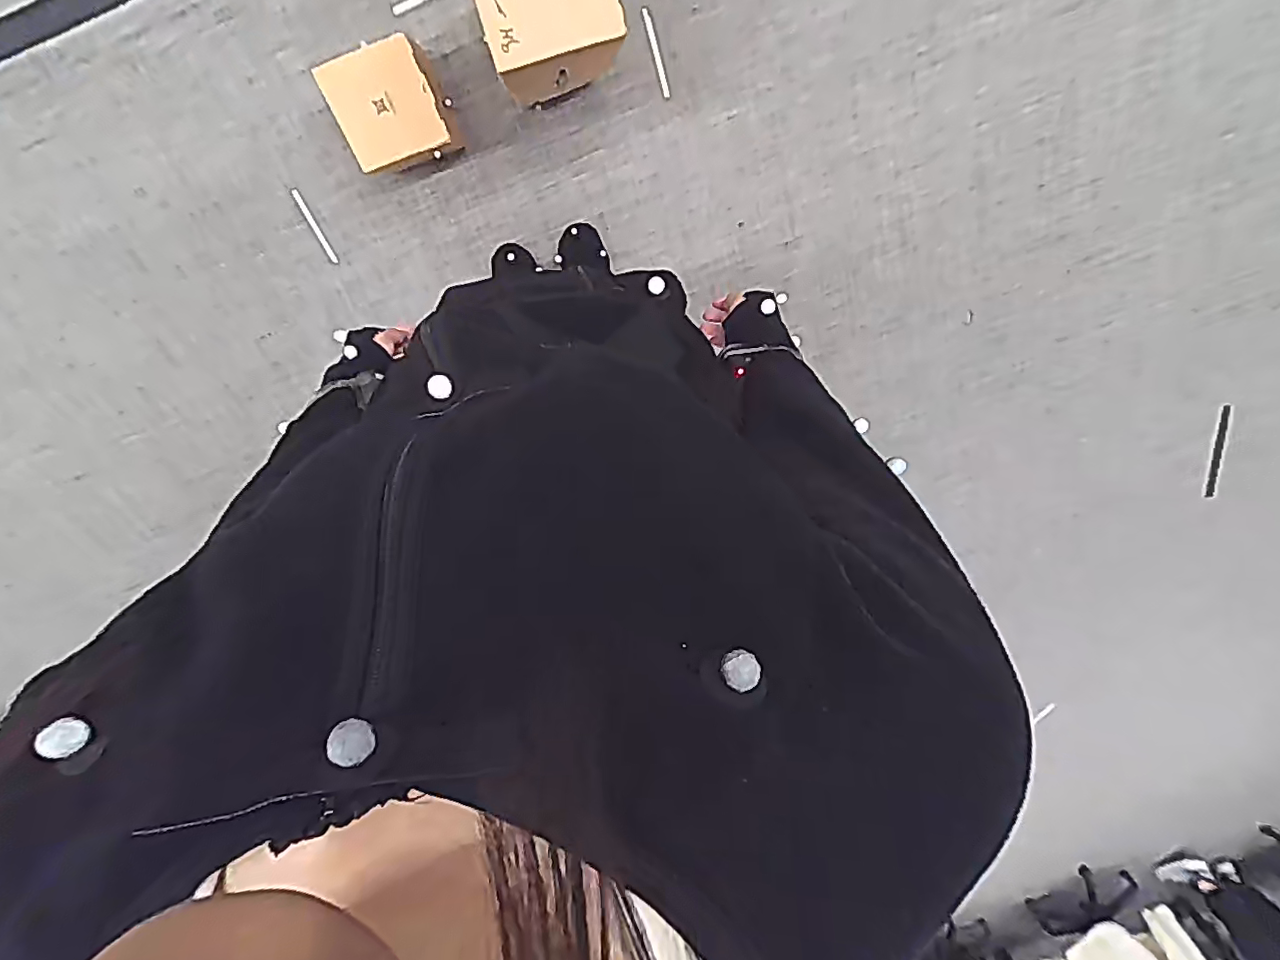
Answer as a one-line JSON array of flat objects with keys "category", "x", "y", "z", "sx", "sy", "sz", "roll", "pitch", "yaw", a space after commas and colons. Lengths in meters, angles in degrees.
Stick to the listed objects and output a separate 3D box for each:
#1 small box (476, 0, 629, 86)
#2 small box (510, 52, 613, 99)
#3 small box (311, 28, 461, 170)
[{"category": "small box", "x": -0.127, "y": -0.645, "z": 0.710, "sx": 0.179, "sy": 0.176, "sz": 0.168, "roll": -16, "pitch": 120, "yaw": -1}, {"category": "small box", "x": -0.150, "y": -0.727, "z": 0.850, "sx": 0.179, "sy": 0.176, "sz": 0.168, "roll": -19, "pitch": 121, "yaw": 1}, {"category": "small box", "x": -0.460, "y": -0.697, "z": 1.012, "sx": 0.179, "sy": 0.176, "sz": 0.168, "roll": -20, "pitch": 120, "yaw": 2}]
